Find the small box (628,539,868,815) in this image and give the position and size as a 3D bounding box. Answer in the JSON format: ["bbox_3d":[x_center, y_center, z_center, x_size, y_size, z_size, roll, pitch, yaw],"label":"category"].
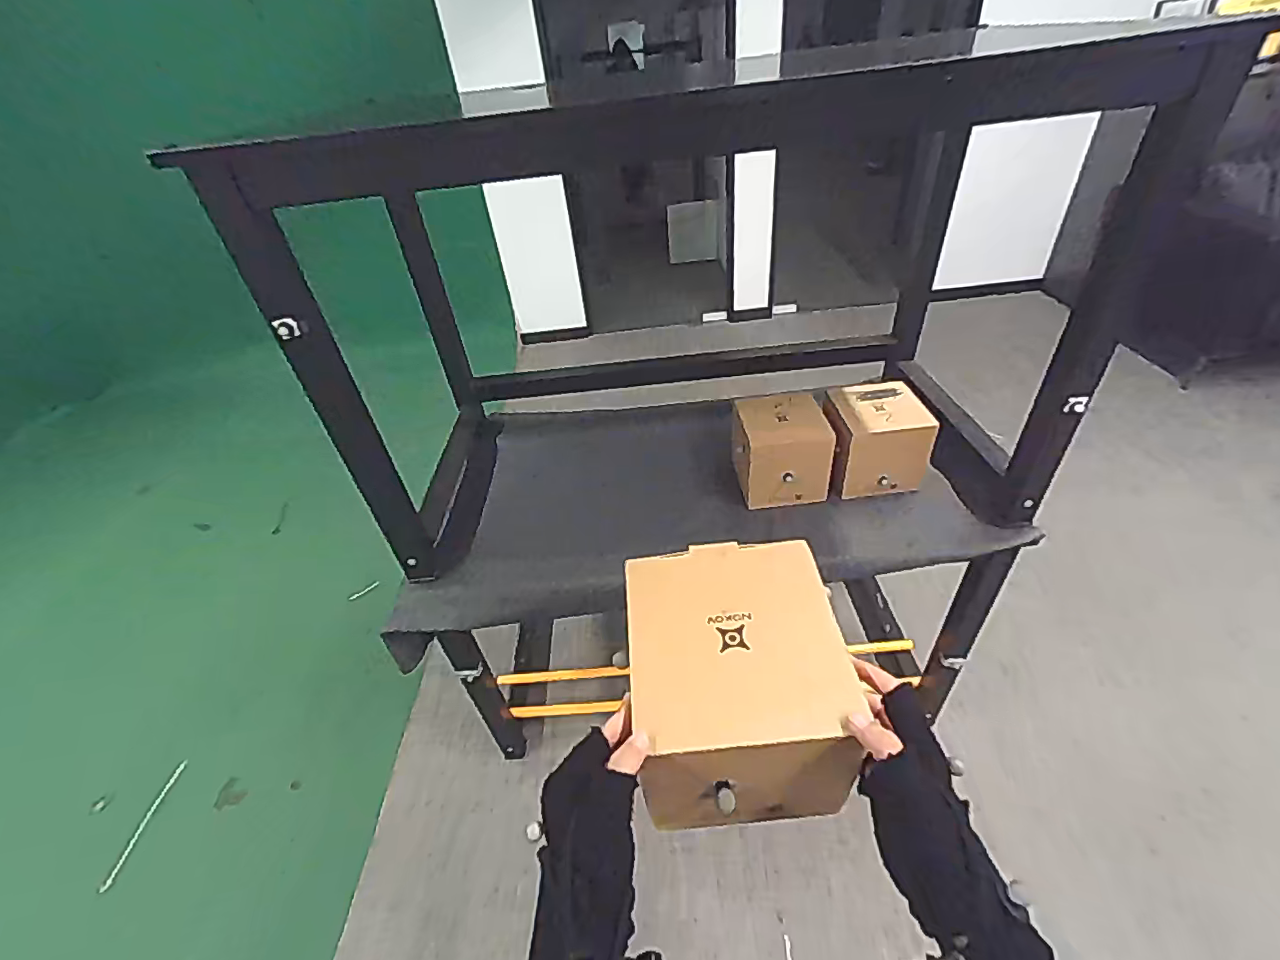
[{"bbox_3d":[0.084,0.181,0.489,0.168,0.176,0.179,-8,41,1],"label":"small box"}]
